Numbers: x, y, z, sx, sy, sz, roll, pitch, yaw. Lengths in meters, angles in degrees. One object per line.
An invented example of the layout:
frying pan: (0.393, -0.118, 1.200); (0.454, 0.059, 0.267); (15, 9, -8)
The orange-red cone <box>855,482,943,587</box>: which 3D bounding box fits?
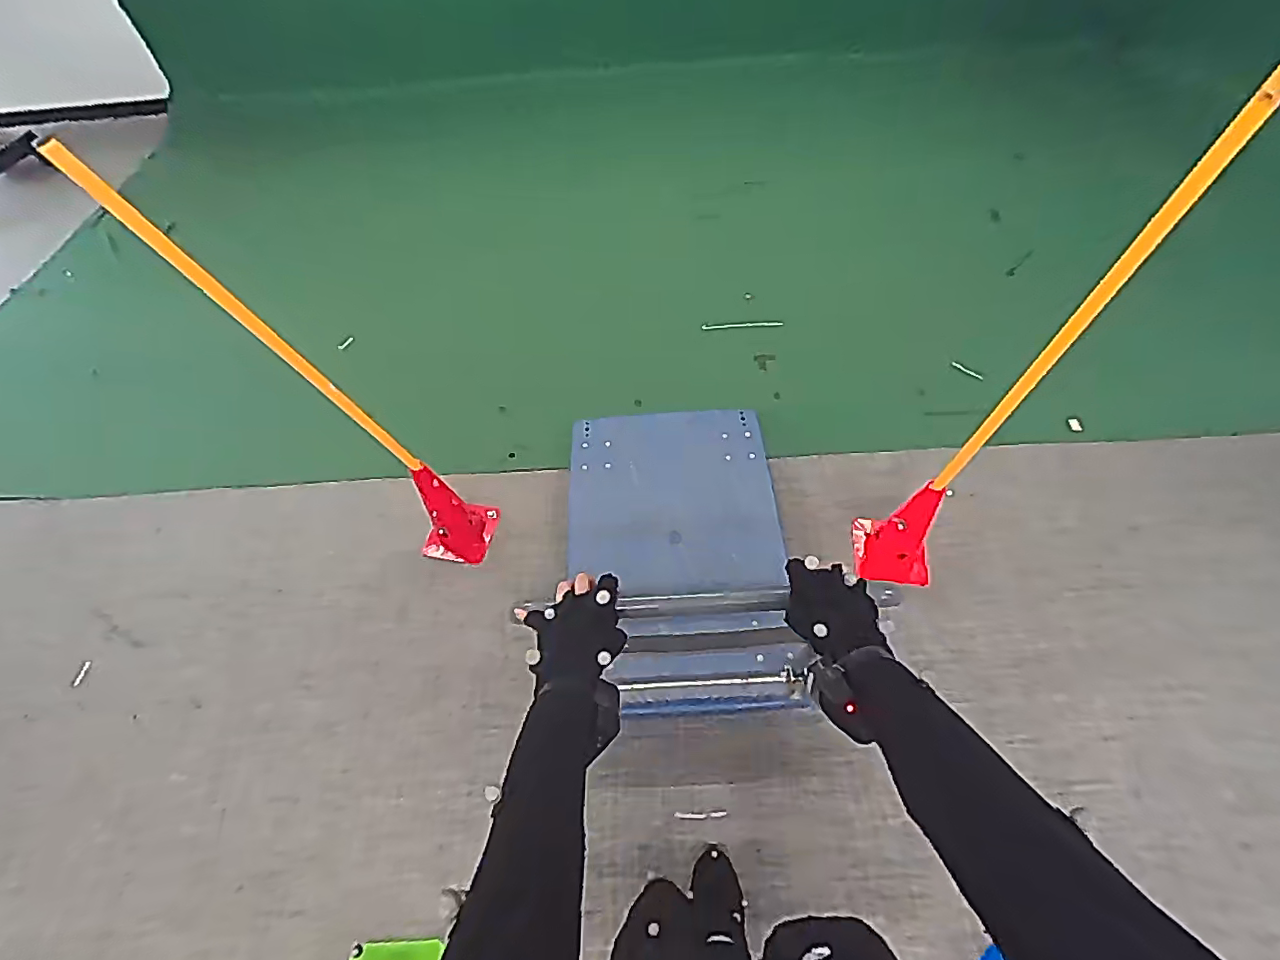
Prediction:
orange-red cone: (0.718, 0.118, 1.433); (0.198, 0.360, 0.199); (6, 57, 9)
